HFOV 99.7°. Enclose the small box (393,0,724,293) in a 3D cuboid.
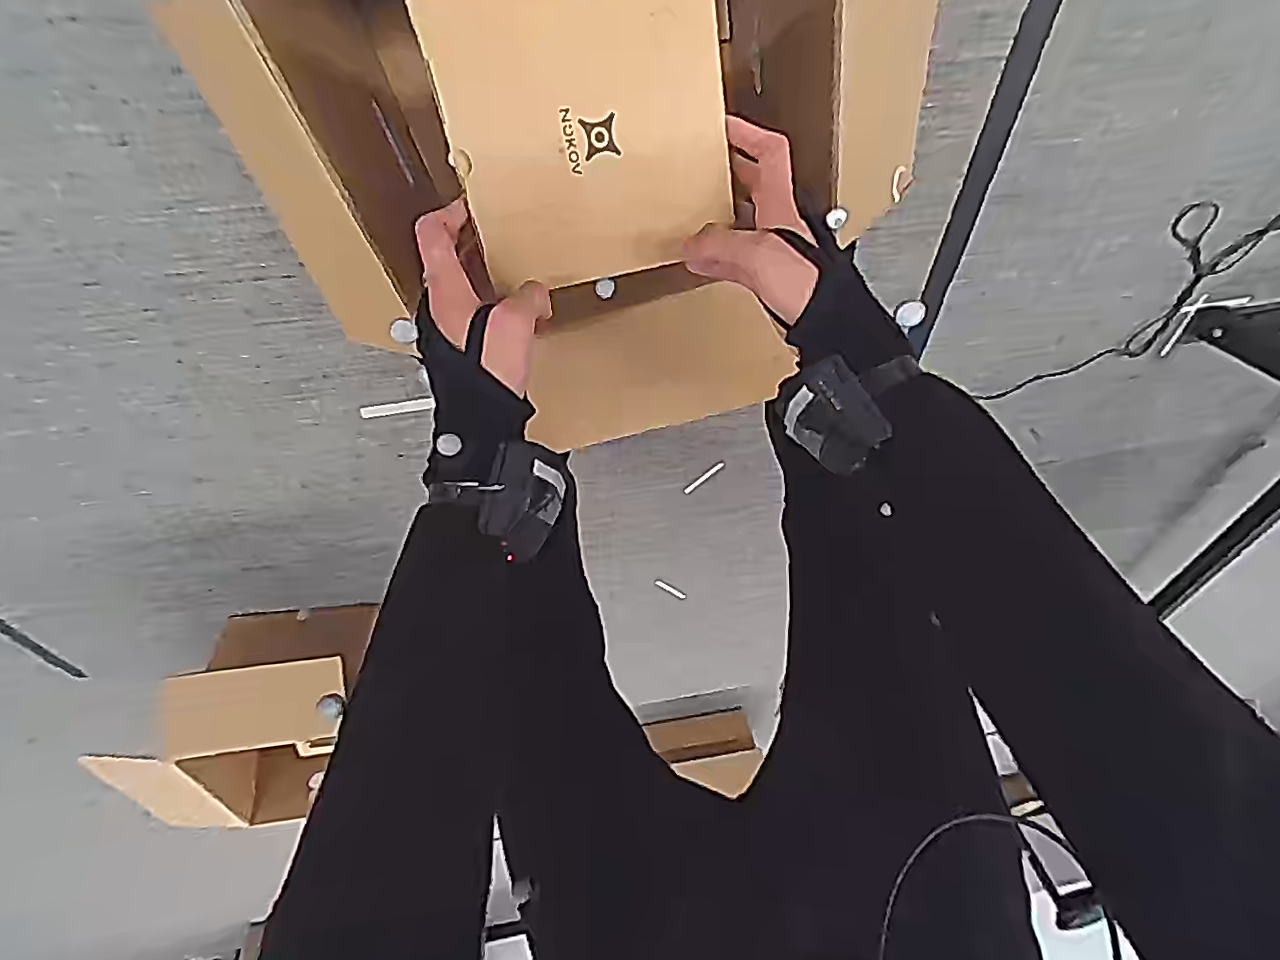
[{"bbox_3d":[-0.053,-0.254,0.405,0.179,0.176,0.168,-15,118,-4],"label":"small box"}]
